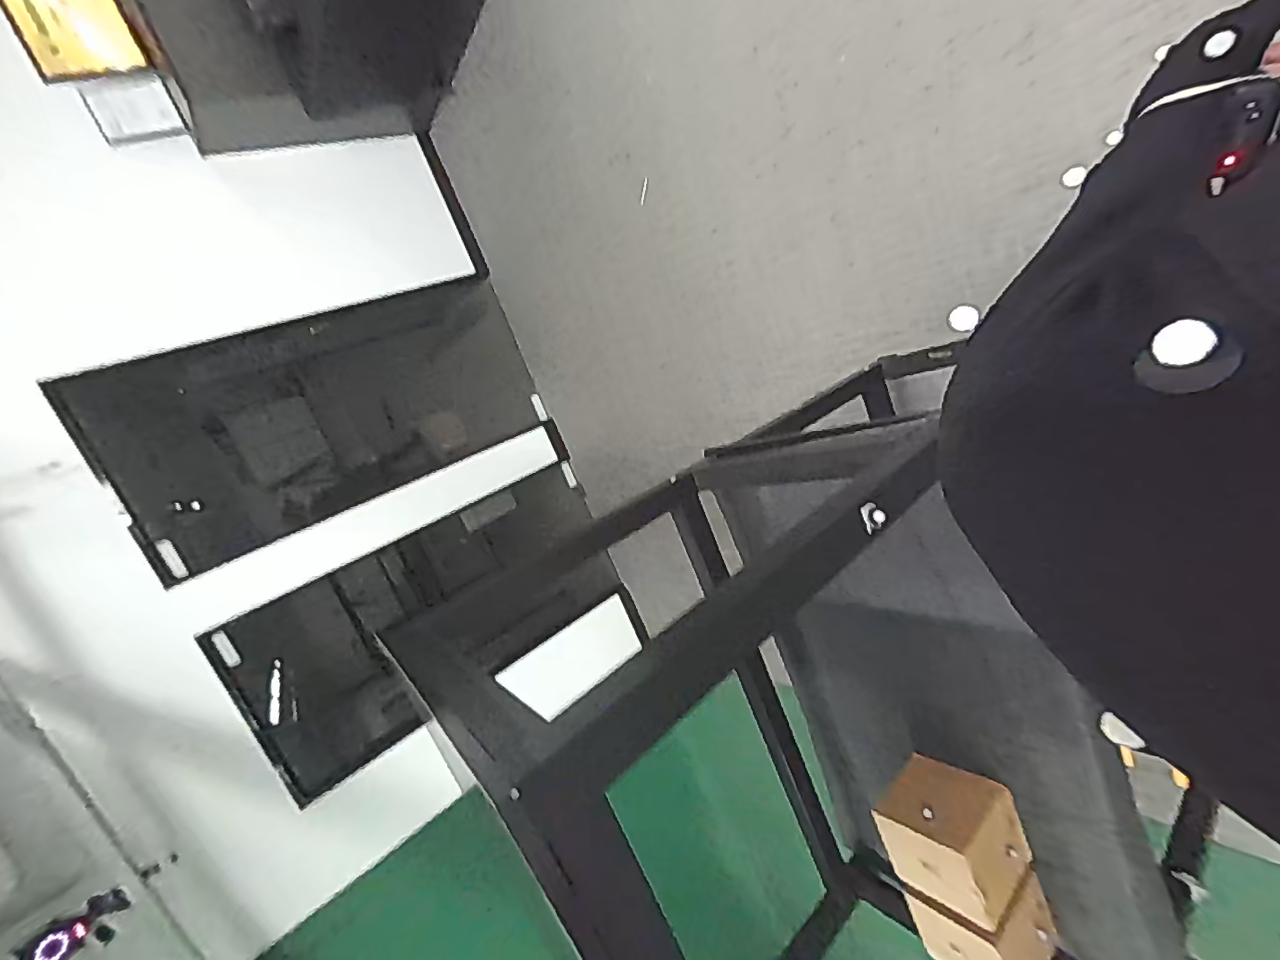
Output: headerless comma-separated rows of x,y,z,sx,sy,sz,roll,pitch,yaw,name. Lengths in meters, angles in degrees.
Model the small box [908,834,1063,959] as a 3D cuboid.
0.658,0.826,1.033,0.179,0.176,0.168,-10,107,58,small box
